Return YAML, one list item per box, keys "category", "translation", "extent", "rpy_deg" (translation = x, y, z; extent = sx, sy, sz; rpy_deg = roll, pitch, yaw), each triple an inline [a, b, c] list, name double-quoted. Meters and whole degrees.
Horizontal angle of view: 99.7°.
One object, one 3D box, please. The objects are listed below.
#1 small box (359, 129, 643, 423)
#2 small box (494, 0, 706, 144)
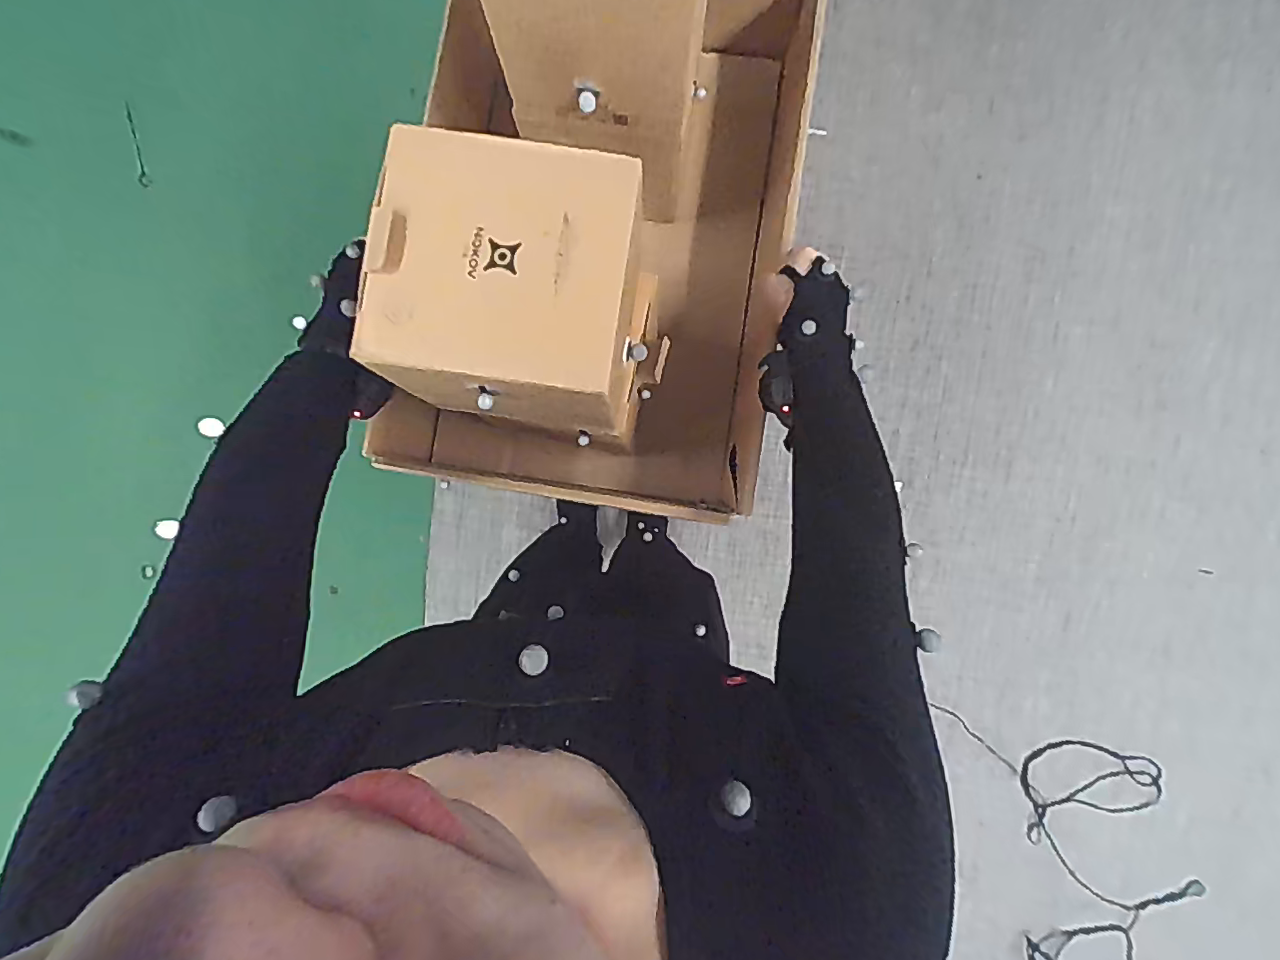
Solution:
- category: "small box"
  translation: [-0.096, -0.148, 0.451]
  extent: [0.179, 0.176, 0.168]
  rpy_deg: [8, 87, -1]
- category: "small box"
  translation: [-0.026, -0.433, 0.458]
  extent: [0.168, 0.176, 0.179]
  rpy_deg: [9, 89, 0]
